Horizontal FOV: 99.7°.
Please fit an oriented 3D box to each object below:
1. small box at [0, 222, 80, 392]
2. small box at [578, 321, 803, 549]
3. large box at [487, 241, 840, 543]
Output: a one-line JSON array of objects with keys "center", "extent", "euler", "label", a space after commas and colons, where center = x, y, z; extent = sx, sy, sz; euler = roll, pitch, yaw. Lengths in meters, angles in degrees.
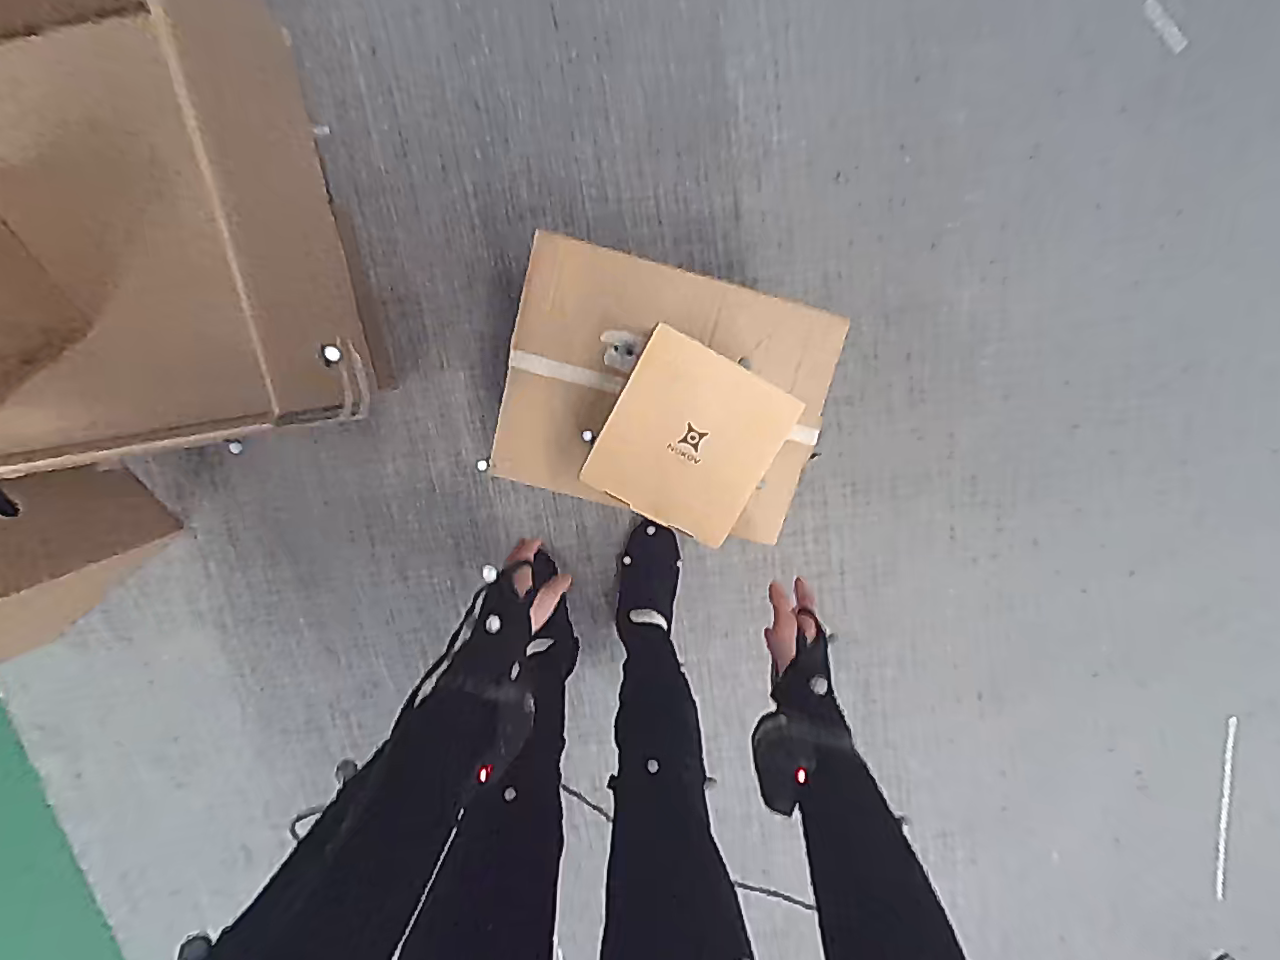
[{"center": [-0.673, -0.162, 0.468], "extent": [0.168, 0.176, 0.179], "euler": [-32, 100, 5], "label": "small box"}, {"center": [0.046, -0.057, 0.604], "extent": [0.168, 0.176, 0.179], "euler": [27, 102, -7], "label": "small box"}, {"center": [0.027, -0.133, 0.838], "extent": [0.408, 0.320, 0.320], "euler": [14, 101, -2], "label": "large box"}]
